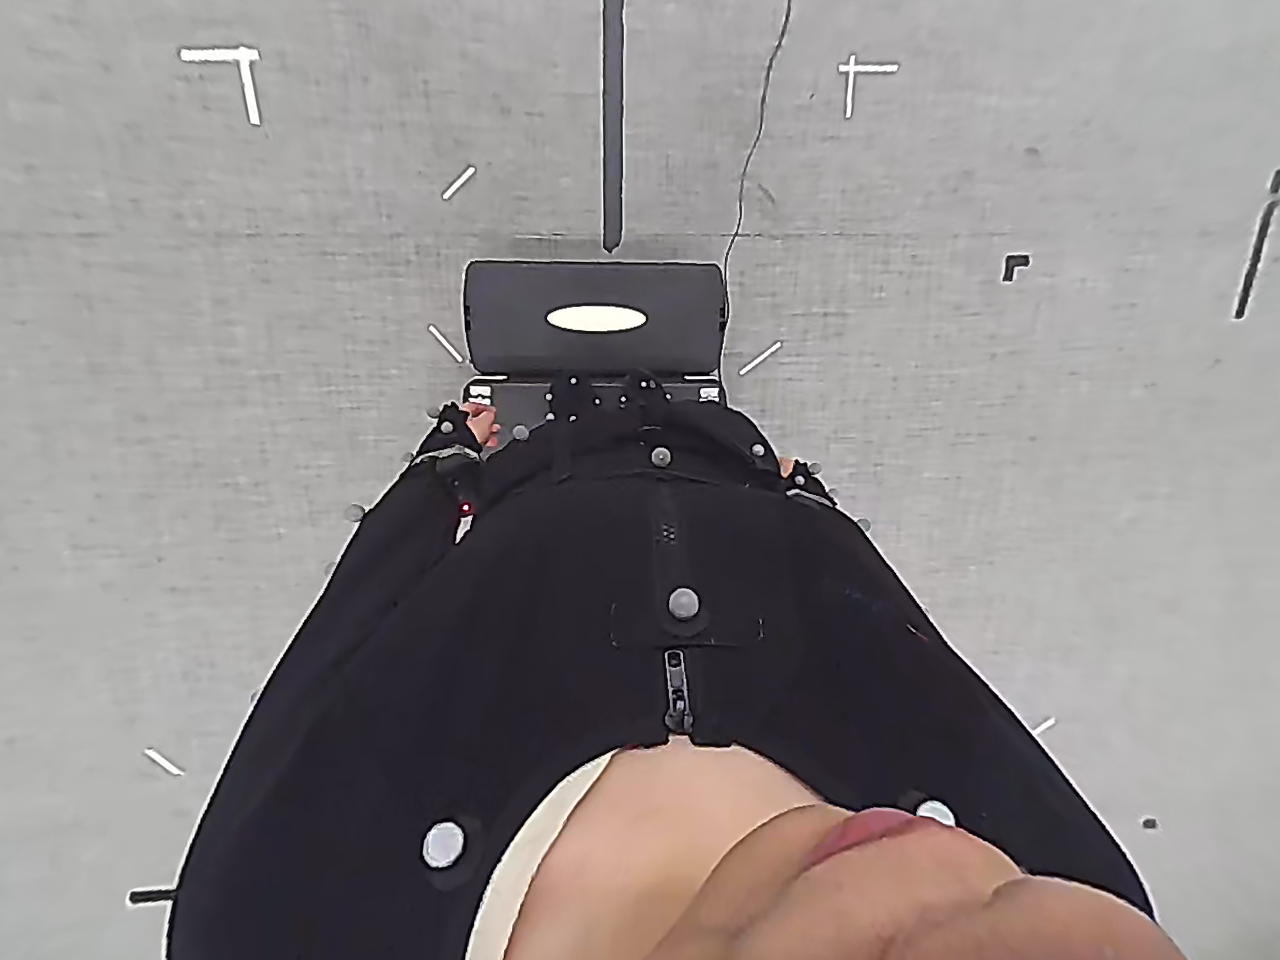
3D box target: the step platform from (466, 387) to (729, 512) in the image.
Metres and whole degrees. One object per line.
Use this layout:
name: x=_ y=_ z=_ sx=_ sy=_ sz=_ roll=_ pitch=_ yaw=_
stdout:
step platform: x=-0.108 y=-0.081 z=1.444 sx=0.684 sy=0.204 sz=0.286 roll=4 pitch=102 yaw=-4
